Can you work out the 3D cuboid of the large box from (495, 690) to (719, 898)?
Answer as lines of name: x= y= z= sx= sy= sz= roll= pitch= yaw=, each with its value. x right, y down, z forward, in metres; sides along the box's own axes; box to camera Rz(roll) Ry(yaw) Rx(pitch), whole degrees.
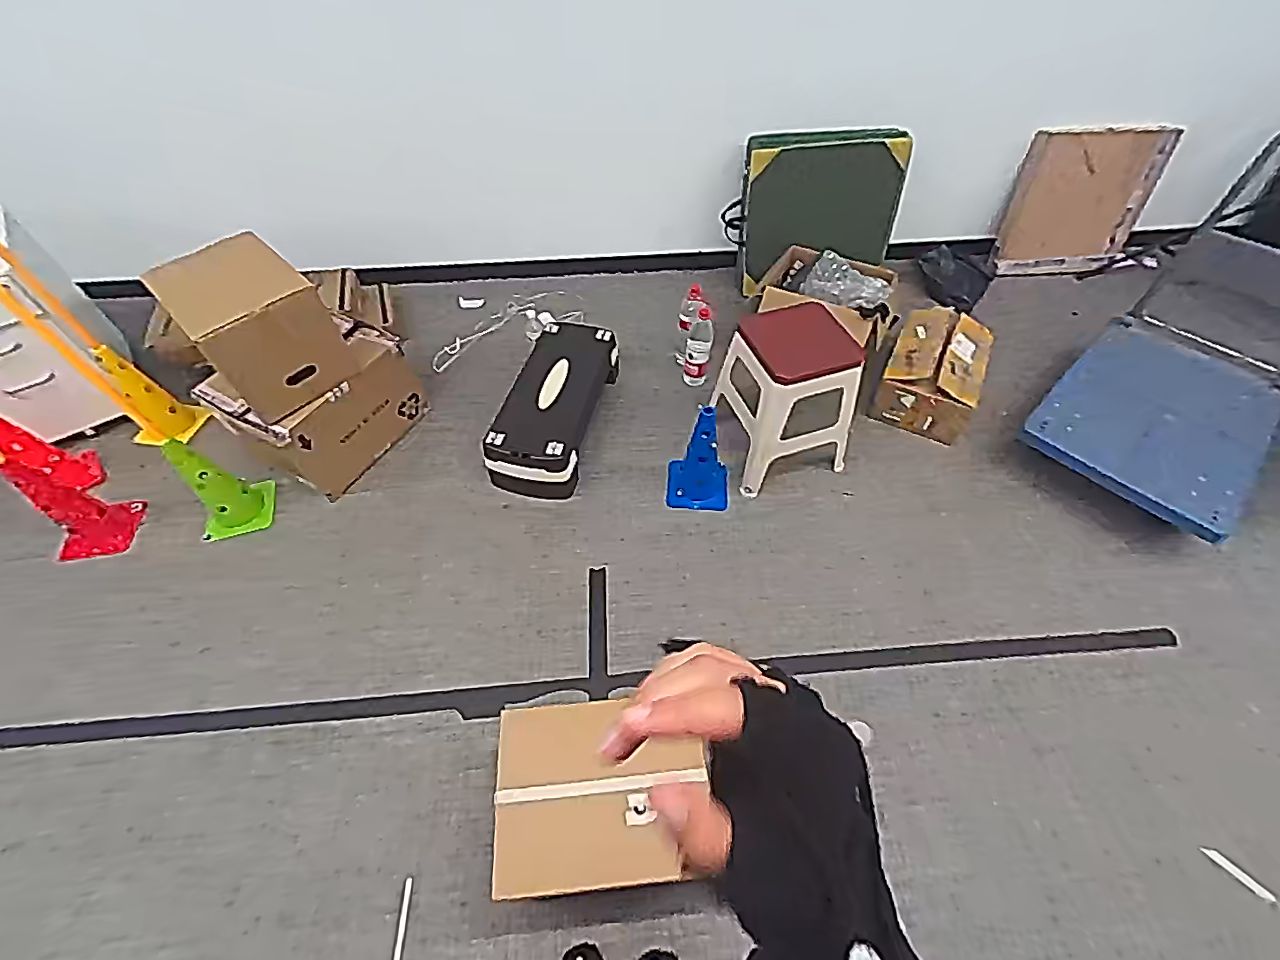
large box: x=-0.075 y=0.669 z=1.149 sx=0.408 sy=0.320 sz=0.320 roll=-3 pitch=53 yaw=-4
